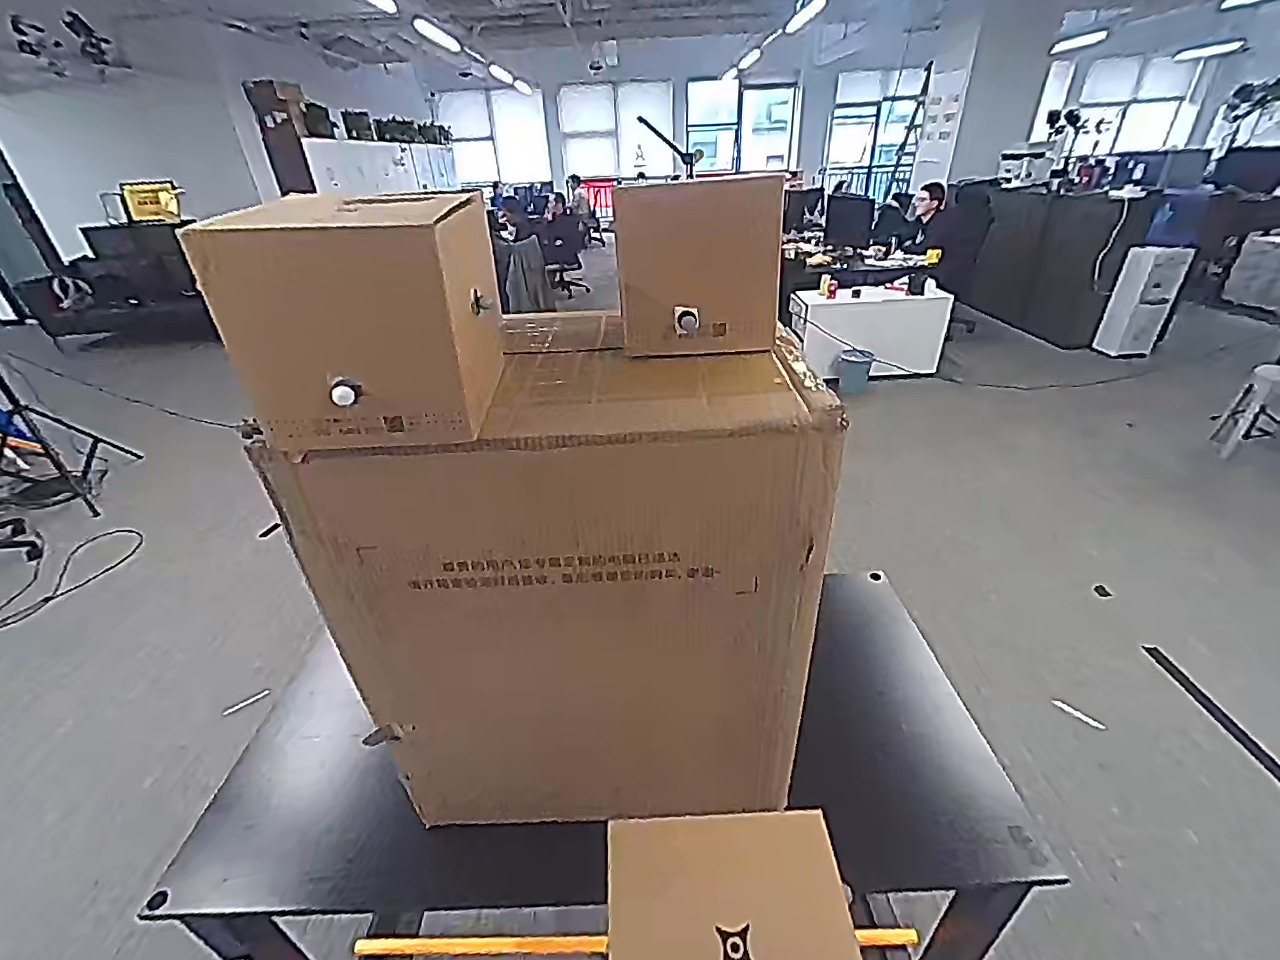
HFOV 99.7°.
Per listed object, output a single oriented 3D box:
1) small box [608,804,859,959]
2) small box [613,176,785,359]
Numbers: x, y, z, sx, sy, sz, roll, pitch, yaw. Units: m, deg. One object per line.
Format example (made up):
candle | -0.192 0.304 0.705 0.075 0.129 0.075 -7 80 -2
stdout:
small box | 0.059 0.369 0.401 0.168 0.176 0.179 -2 39 -1
small box | 0.063 -0.245 0.620 0.168 0.176 0.179 -3 30 4
